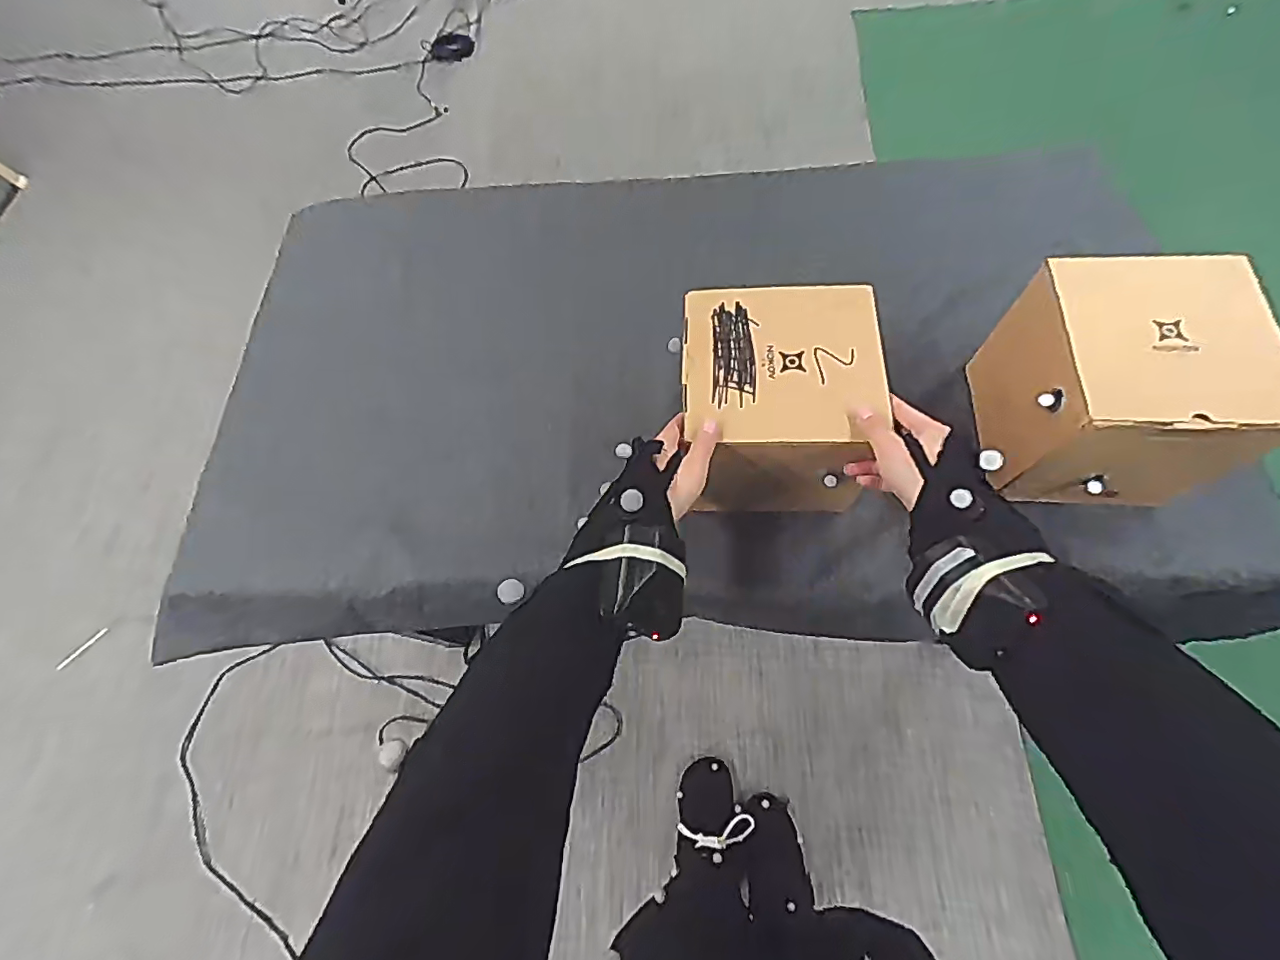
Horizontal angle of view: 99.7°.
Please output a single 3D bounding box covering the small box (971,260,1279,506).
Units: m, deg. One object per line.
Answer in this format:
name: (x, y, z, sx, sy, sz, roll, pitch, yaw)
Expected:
small box: (0.455, -0.088, 0.530, 0.168, 0.176, 0.179, 2, 67, 7)
